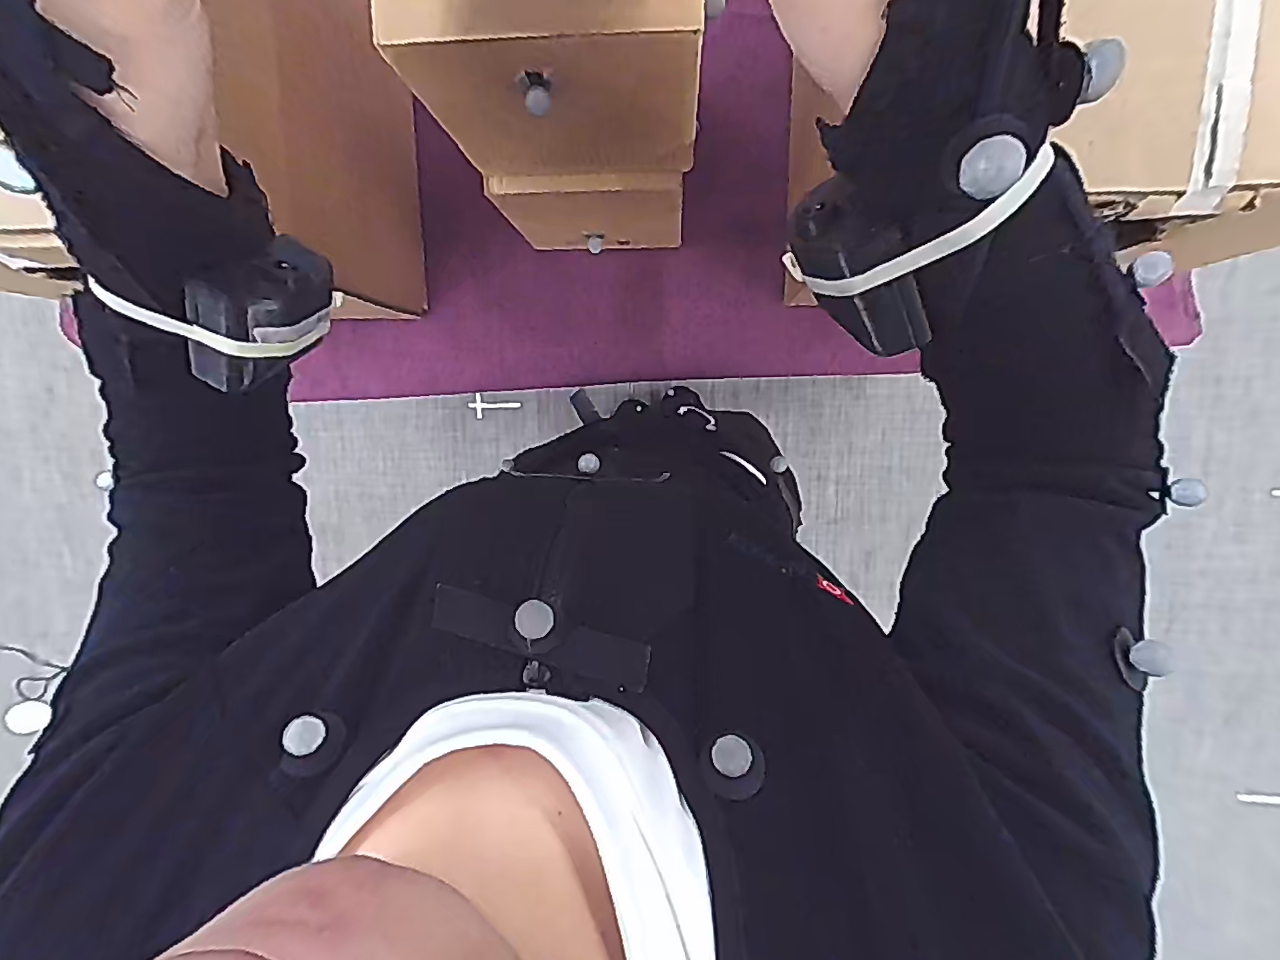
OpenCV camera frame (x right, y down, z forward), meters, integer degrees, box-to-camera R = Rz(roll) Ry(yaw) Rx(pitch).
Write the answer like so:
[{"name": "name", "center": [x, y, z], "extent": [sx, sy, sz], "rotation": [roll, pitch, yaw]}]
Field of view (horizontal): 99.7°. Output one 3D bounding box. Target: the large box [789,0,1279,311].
[{"name": "large box", "center": [0.296, -0.367, 0.414], "extent": [0.320, 0.320, 0.408], "rotation": [0, 97, 4]}]
